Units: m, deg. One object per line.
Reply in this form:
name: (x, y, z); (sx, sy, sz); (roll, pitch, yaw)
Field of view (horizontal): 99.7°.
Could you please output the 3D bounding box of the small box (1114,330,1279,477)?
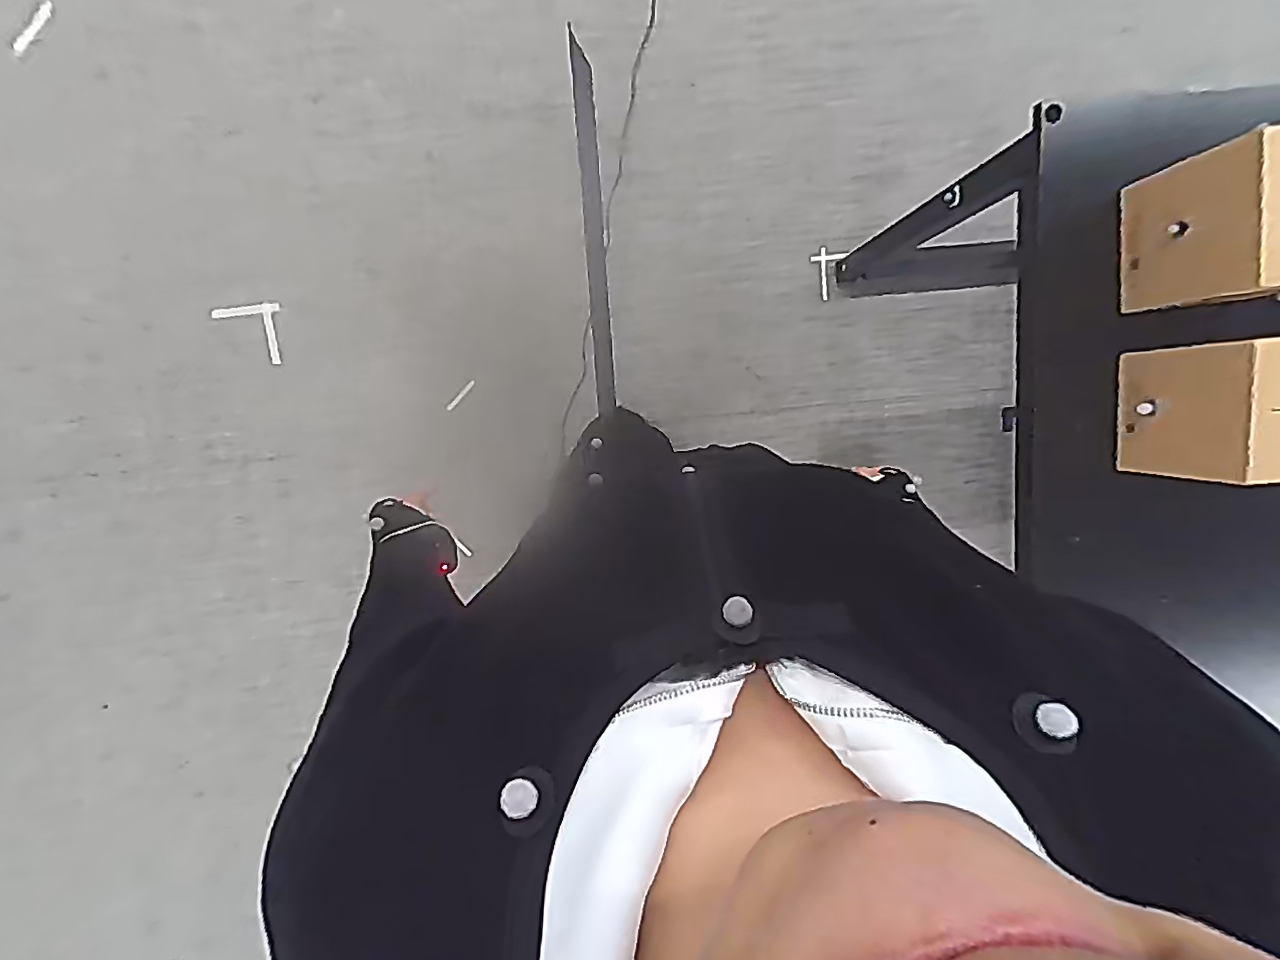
small box: (0.765, -0.101, 0.688); (0.179, 0.176, 0.168); (-5, 97, -1)
